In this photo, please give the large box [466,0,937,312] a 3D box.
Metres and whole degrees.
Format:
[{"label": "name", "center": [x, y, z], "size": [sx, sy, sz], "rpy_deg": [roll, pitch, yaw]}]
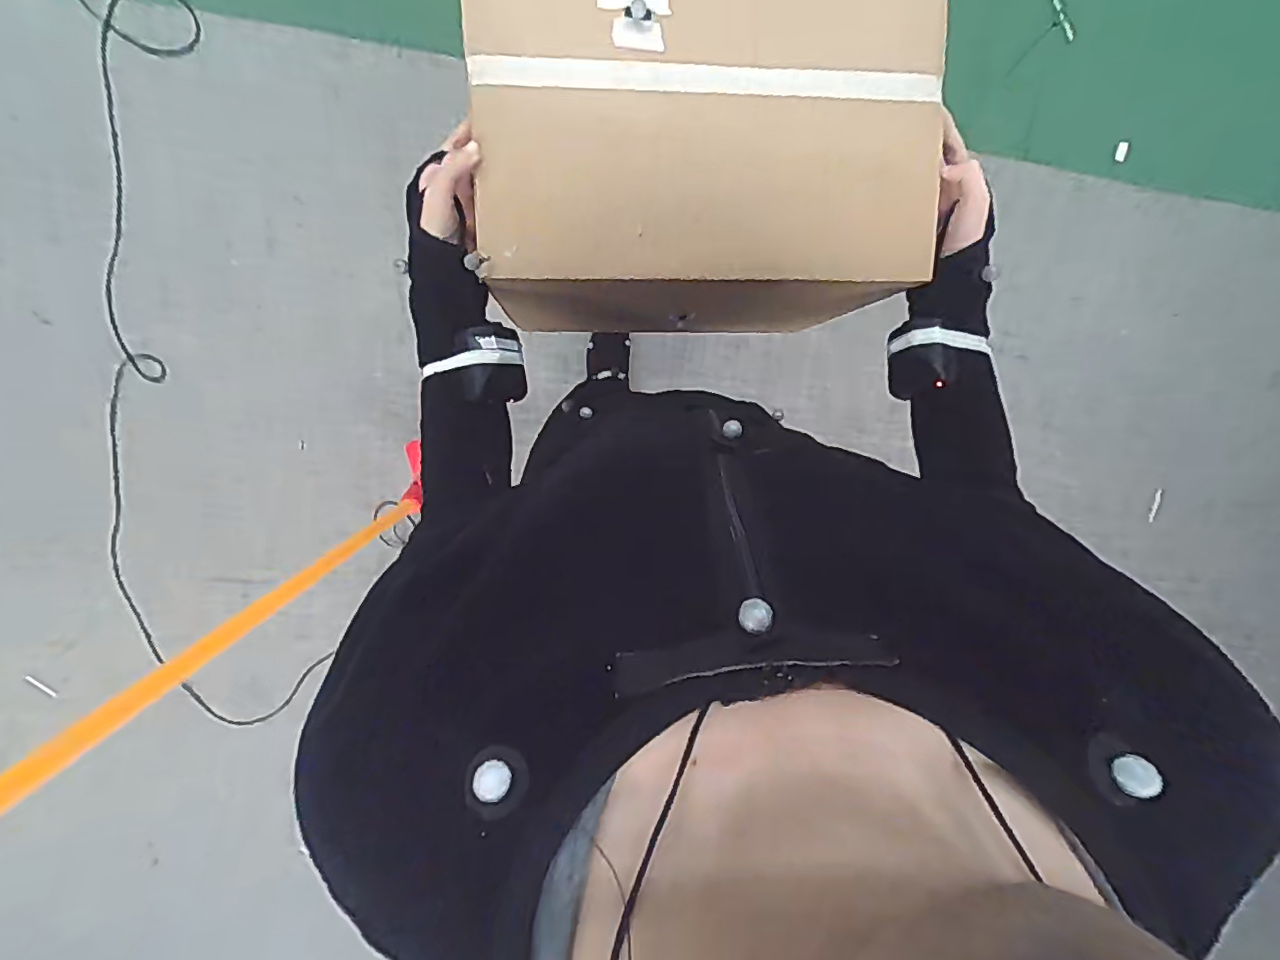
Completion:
[{"label": "large box", "center": [0.046, -0.366, 0.604], "size": [0.408, 0.320, 0.320], "rpy_deg": [-2, 98, -5]}]
